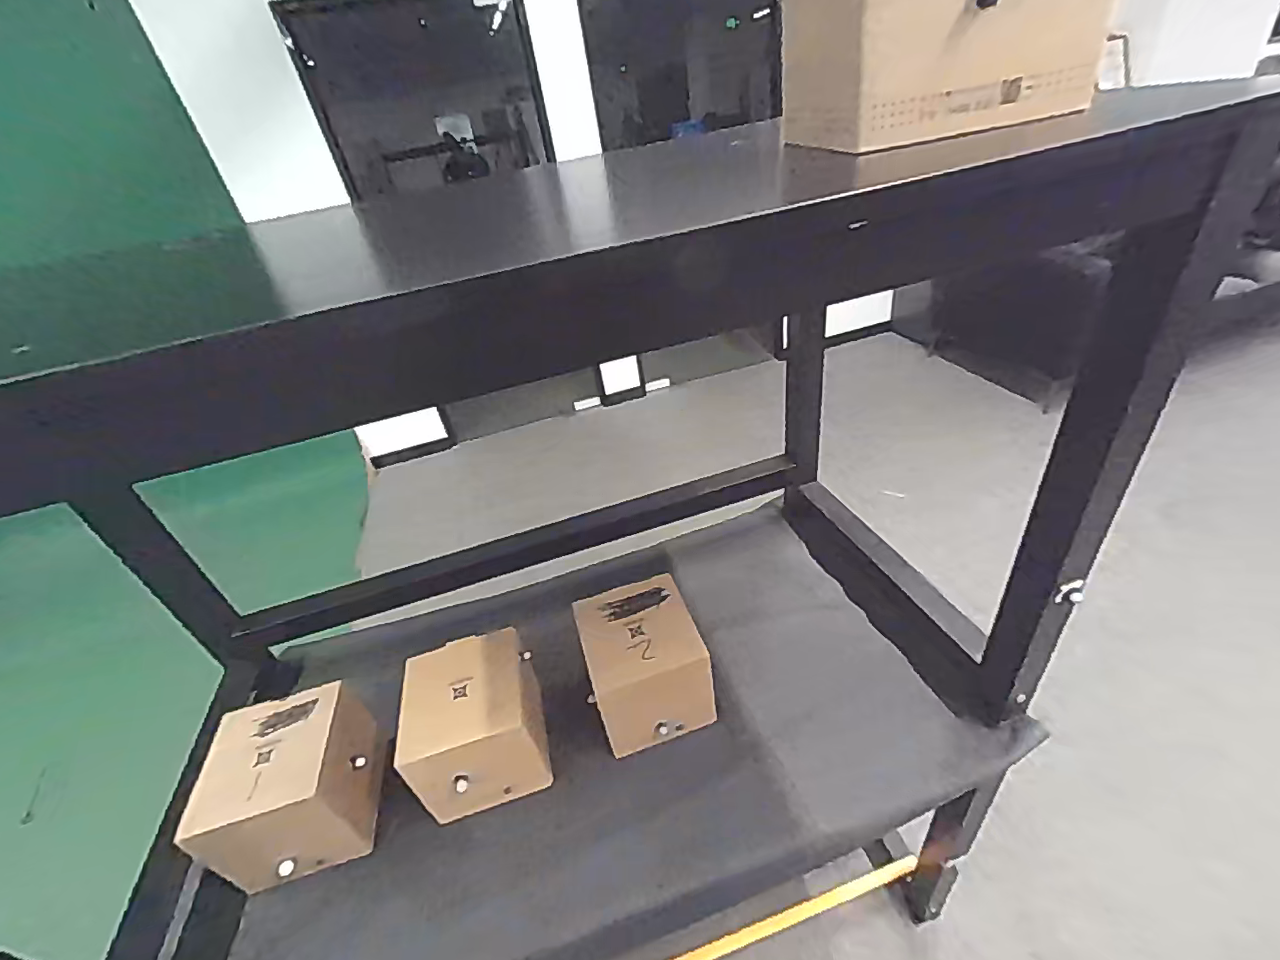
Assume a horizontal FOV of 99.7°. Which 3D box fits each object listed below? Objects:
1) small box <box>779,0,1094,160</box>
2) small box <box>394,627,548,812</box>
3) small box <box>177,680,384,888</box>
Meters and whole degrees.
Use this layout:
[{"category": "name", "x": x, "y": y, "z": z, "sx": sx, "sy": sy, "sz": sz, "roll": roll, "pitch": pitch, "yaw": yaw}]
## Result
[{"category": "small box", "x": 0.210, "y": -0.352, "z": 0.408, "sx": 0.168, "sy": 0.176, "sz": 0.179, "roll": -10, "pitch": 34, "yaw": 1}, {"category": "small box", "x": -0.242, "y": 0.358, "z": 0.802, "sx": 0.168, "sy": 0.176, "sz": 0.179, "roll": -16, "pitch": 35, "yaw": -8}, {"category": "small box", "x": -0.483, "y": 0.425, "z": 0.763, "sx": 0.168, "sy": 0.176, "sz": 0.179, "roll": -15, "pitch": 35, "yaw": -8}]
